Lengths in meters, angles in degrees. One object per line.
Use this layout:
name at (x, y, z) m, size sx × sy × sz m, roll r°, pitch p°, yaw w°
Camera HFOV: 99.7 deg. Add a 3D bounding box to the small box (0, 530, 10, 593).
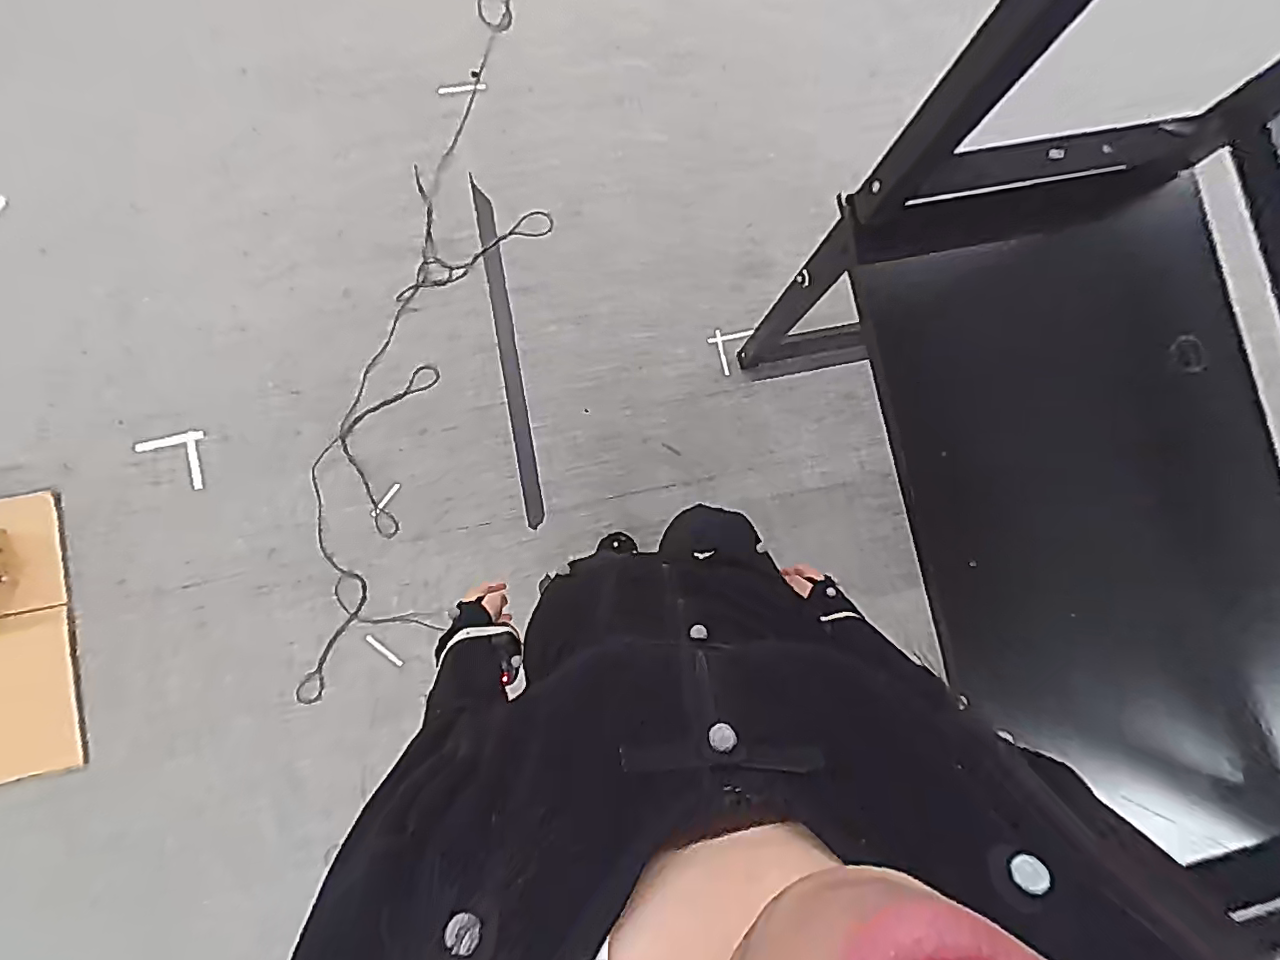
small box at (-1.661, 0.211, 1.273) m, size 0.179 × 0.176 × 0.168 m, roll -14°, pitch 86°, yaw -5°
